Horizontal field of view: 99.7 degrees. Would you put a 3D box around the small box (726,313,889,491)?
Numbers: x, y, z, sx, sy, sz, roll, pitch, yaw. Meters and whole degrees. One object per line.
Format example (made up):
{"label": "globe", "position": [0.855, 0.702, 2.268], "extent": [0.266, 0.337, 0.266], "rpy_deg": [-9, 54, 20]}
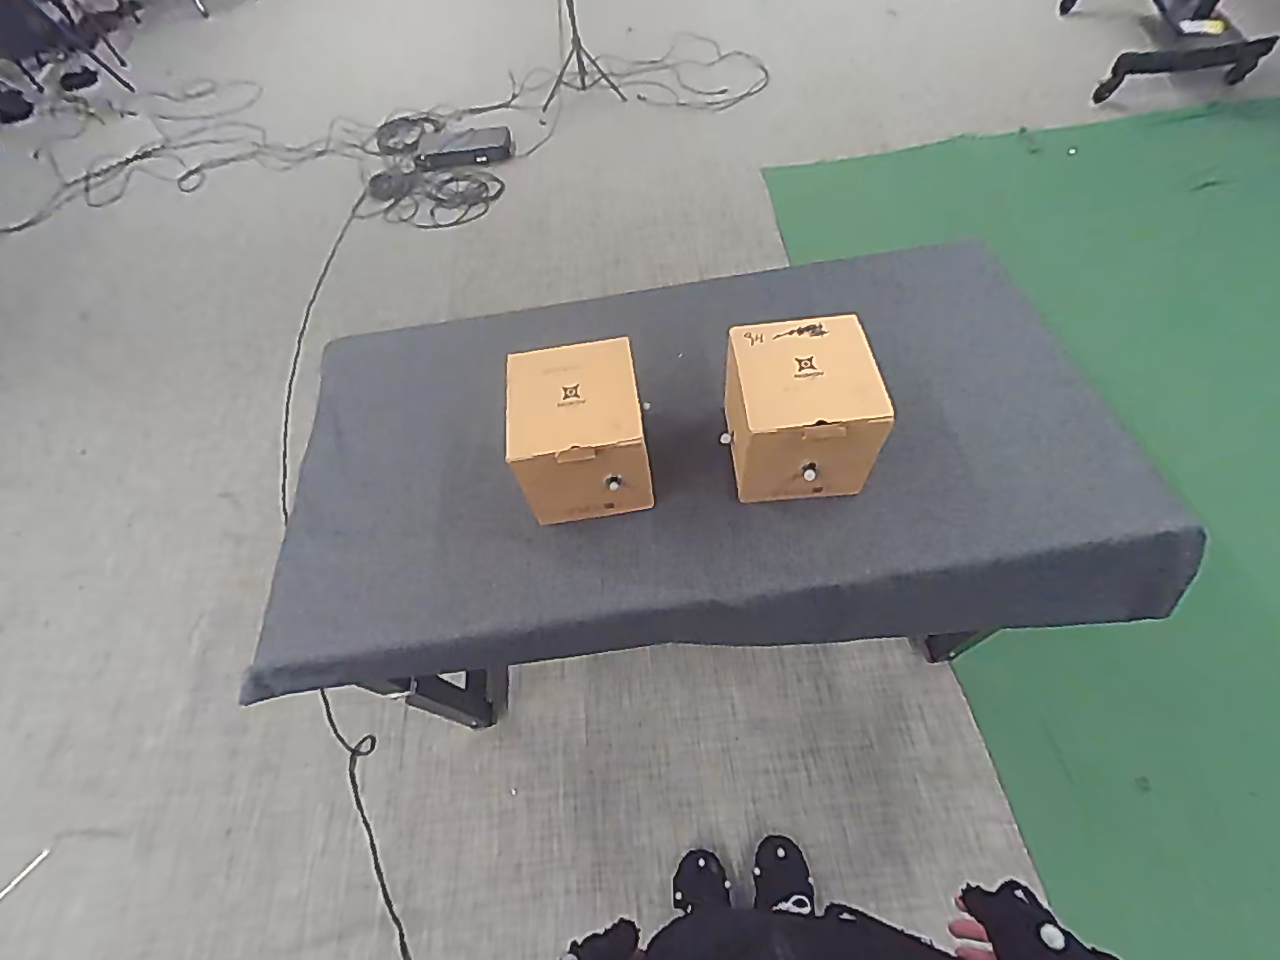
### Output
{"label": "small box", "position": [0.210, -0.096, 0.734], "extent": [0.168, 0.176, 0.179], "rpy_deg": [-5, 59, 3]}

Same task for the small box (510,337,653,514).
{"label": "small box", "position": [-0.077, -0.066, 0.750], "extent": [0.168, 0.176, 0.179], "rpy_deg": [-9, 57, -1]}
